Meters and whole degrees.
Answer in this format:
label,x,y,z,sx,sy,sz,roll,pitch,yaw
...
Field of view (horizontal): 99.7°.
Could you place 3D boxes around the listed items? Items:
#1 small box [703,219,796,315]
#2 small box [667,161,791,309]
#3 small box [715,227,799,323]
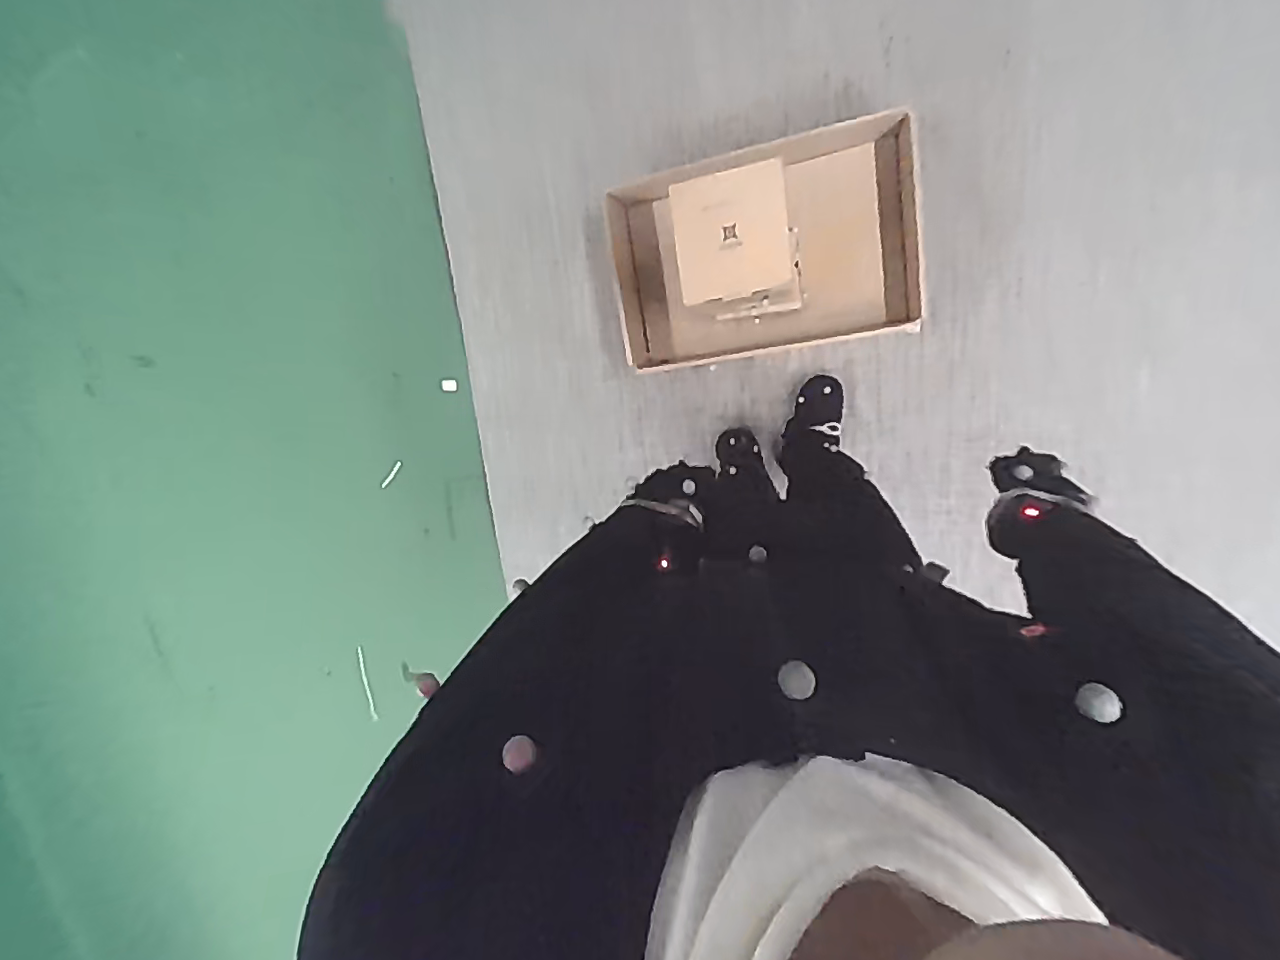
label,x,y,z,sx,sy,sz,roll,pitch,yaw
small box,0.204,-0.422,1.042,0.168,0.176,0.179,-7,101,20
small box,0.152,-0.378,0.874,0.168,0.176,0.179,-5,101,17
small box,0.259,-0.444,1.192,0.179,0.176,0.168,-2,102,19
